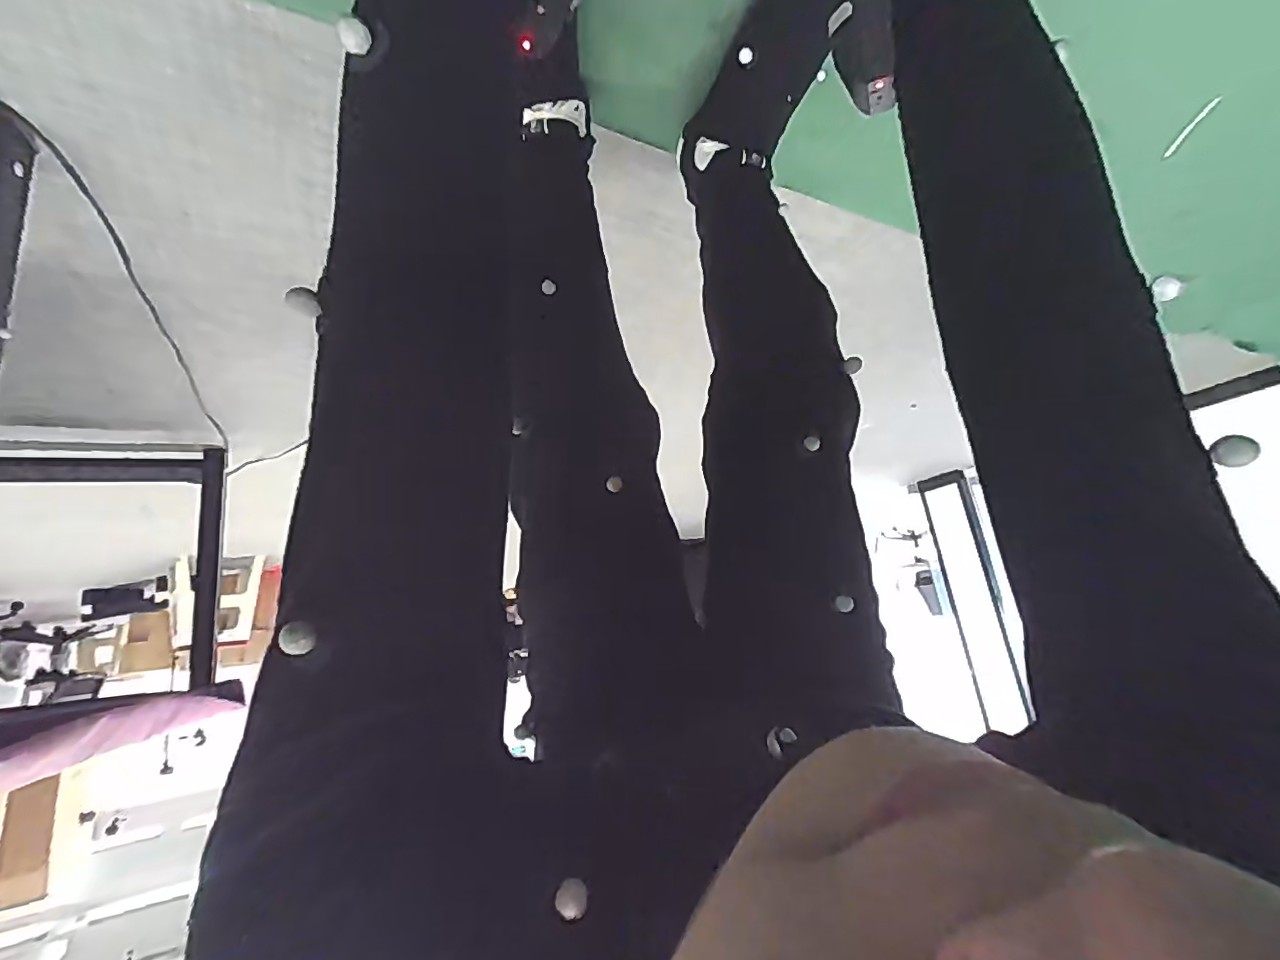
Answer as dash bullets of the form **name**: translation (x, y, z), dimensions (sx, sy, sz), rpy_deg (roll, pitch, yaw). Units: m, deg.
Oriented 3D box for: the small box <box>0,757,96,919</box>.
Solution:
- **small box**: translation (-0.892, 0.491, 0.742), dimensions (0.179, 0.176, 0.168), rpy_deg (3, 161, -30)
